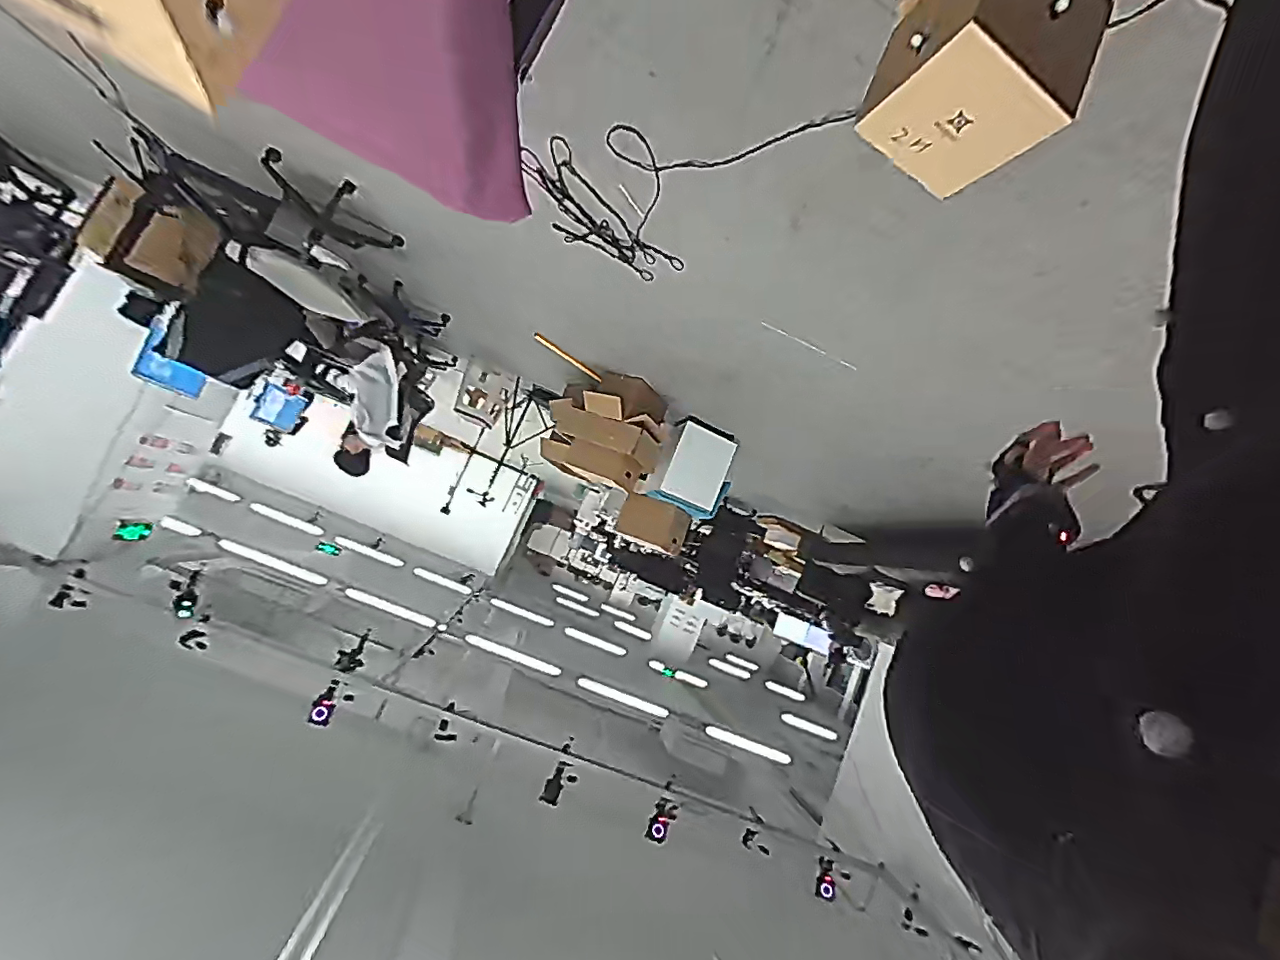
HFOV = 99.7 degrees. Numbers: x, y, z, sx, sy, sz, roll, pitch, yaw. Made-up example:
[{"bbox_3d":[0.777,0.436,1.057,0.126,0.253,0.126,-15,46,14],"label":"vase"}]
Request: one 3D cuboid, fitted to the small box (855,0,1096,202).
[{"bbox_3d":[0.404,-0.492,0.654,0.168,0.176,0.179,27,171,-17],"label":"small box"}]
